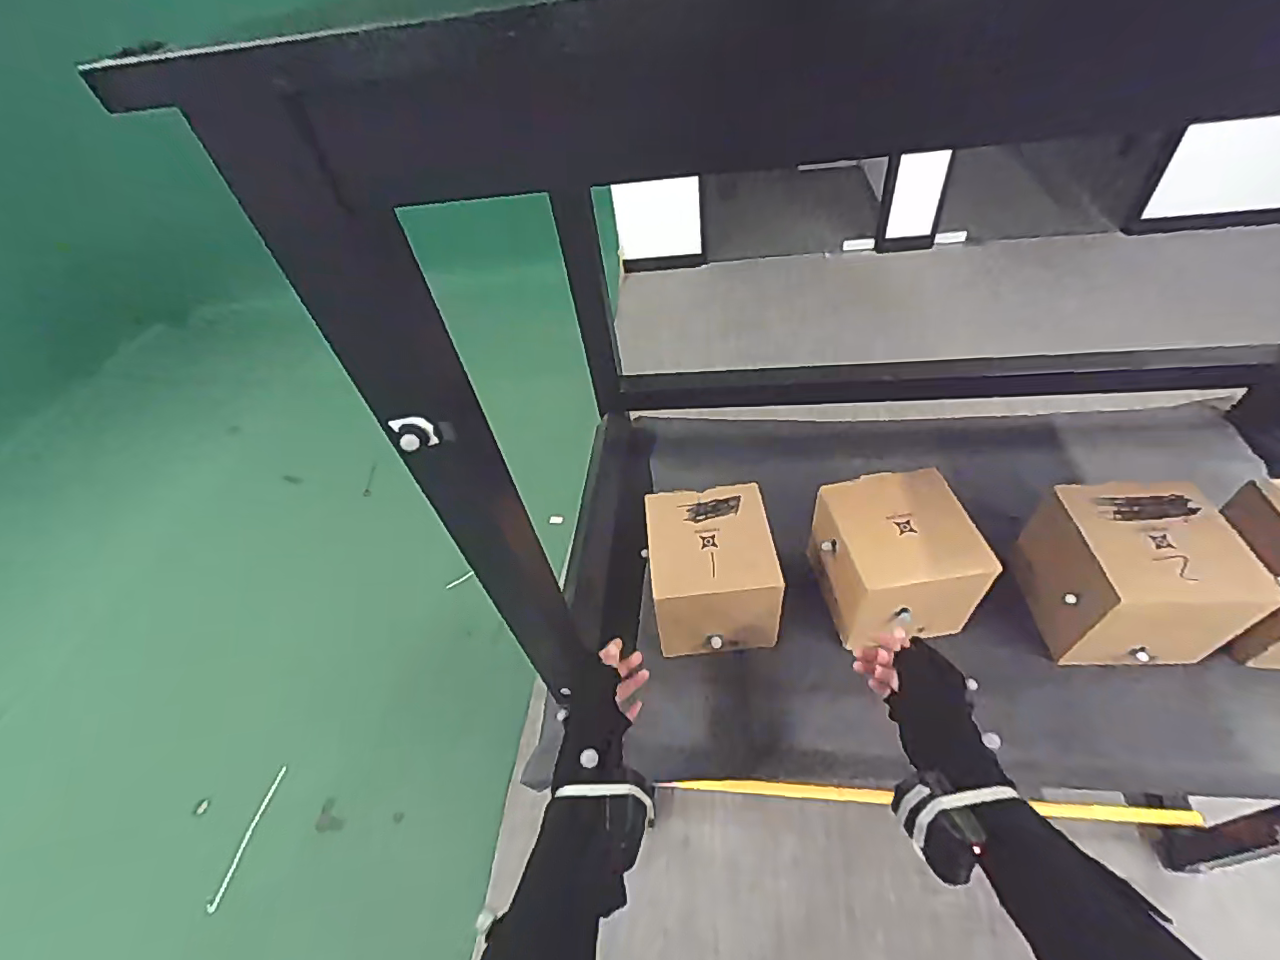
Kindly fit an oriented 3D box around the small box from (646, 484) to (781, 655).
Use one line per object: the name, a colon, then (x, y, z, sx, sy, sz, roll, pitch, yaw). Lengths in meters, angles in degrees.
small box: (0.100, 0.131, 0.785, 0.168, 0.176, 0.179, -7, 47, 4)
